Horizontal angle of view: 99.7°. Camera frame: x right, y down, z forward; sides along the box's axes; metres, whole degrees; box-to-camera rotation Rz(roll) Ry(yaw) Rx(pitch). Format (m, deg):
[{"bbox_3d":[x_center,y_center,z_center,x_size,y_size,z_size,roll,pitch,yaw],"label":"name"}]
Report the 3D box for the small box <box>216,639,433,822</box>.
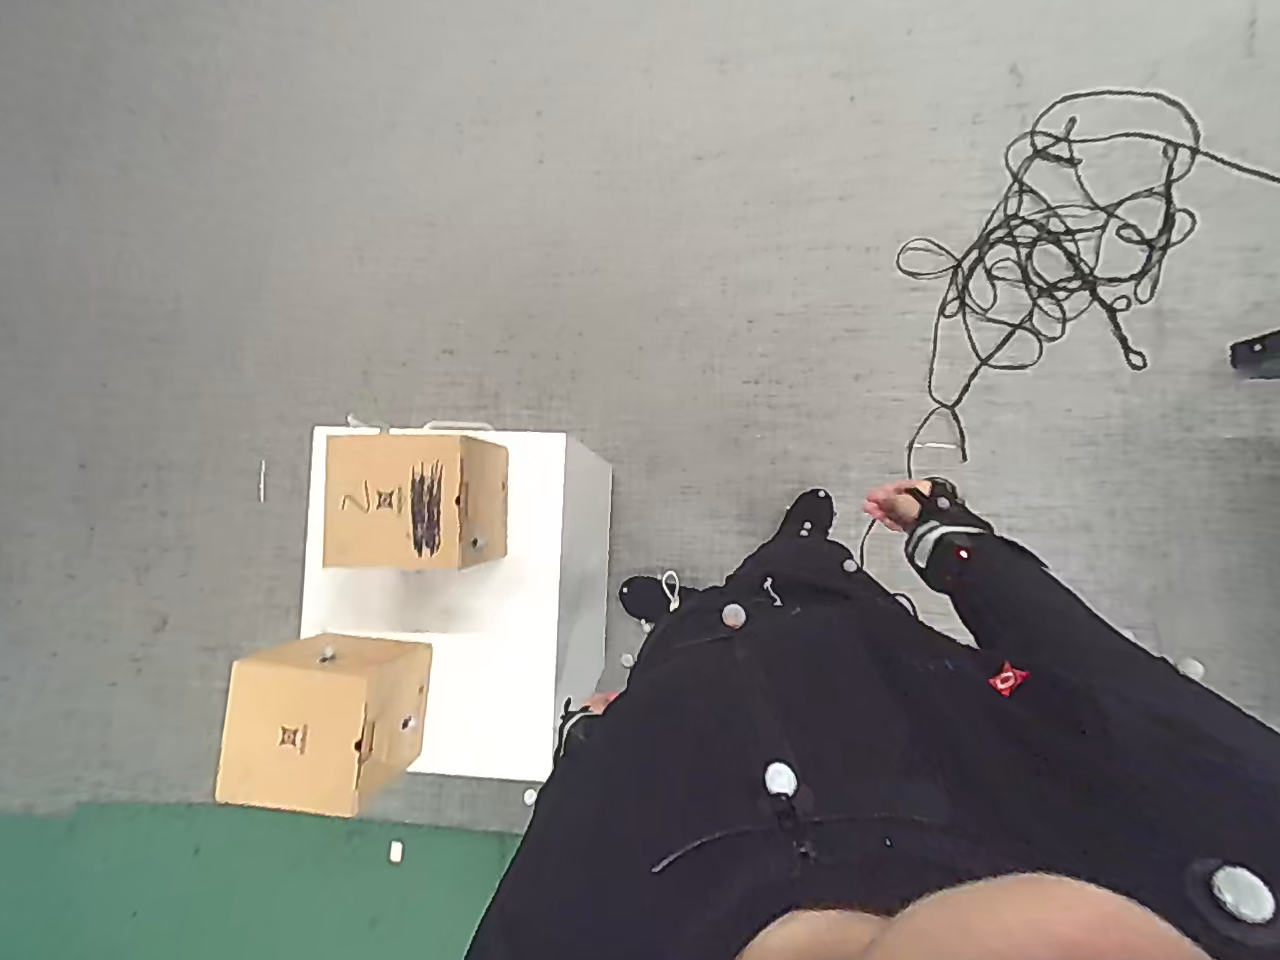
[{"bbox_3d":[-0.403,0.315,0.718,0.179,0.176,0.168,4,86,4],"label":"small box"}]
